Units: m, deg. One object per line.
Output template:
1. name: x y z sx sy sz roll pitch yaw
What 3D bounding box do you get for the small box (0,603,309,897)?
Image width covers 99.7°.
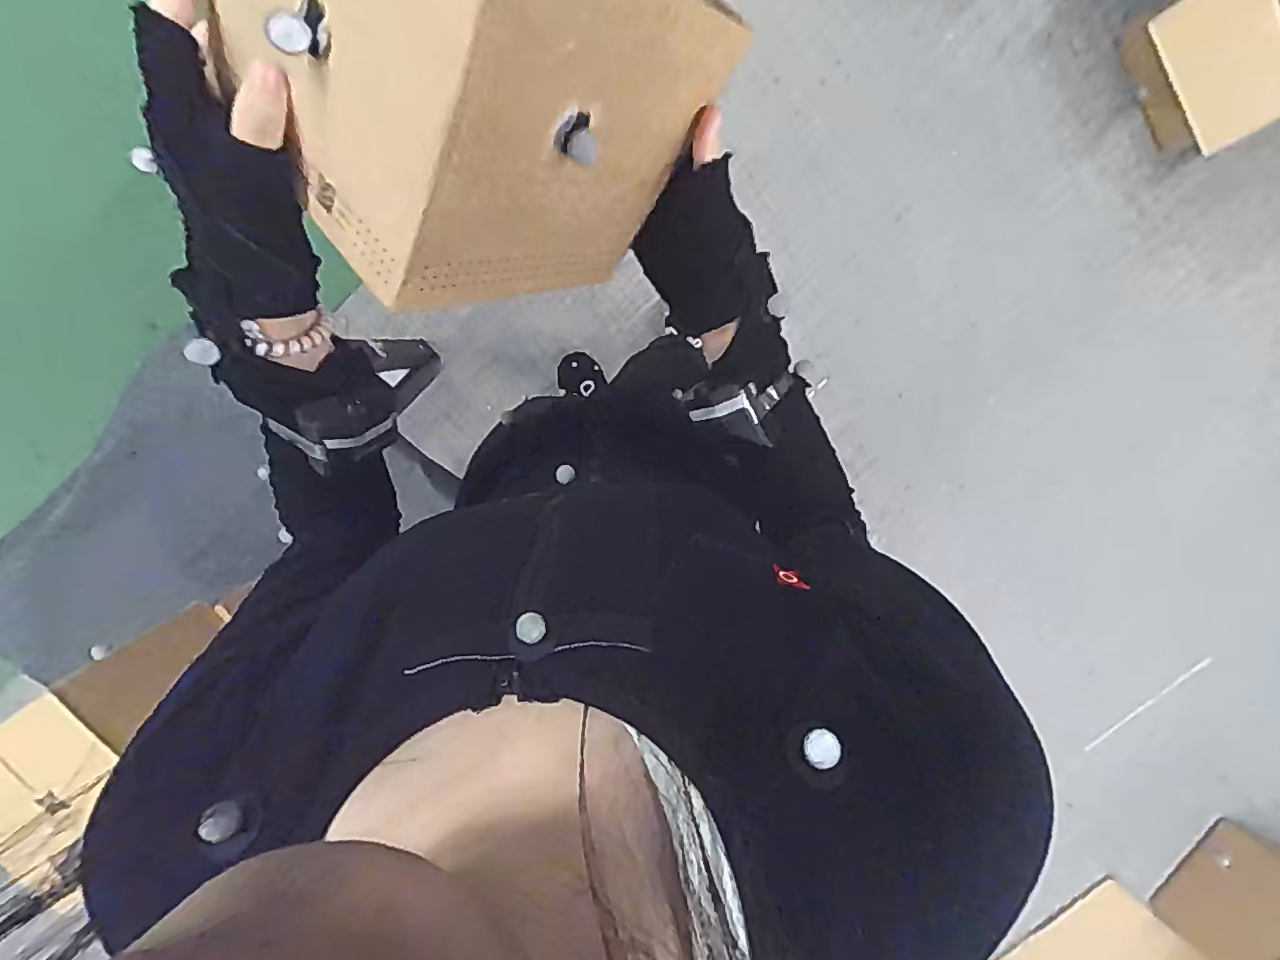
1. small box: -0.496 0.262 0.558 0.168 0.176 0.179 -33 102 6
